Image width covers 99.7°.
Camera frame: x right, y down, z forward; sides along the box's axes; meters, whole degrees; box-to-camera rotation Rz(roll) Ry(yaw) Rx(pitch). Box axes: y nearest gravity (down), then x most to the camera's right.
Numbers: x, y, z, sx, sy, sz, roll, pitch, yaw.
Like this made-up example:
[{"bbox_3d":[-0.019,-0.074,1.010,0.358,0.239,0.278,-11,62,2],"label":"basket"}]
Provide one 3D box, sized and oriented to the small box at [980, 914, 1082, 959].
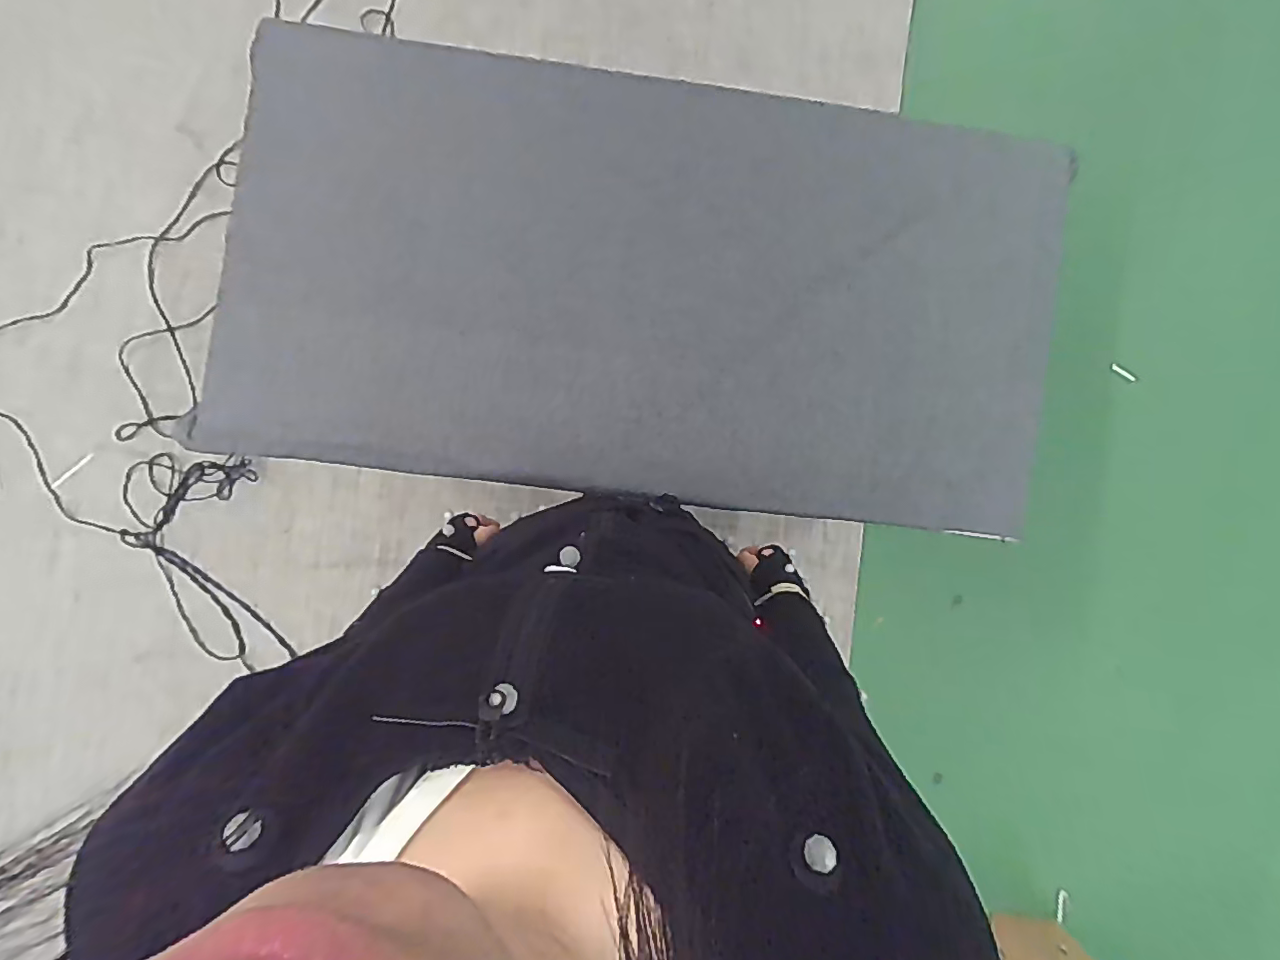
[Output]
[{"bbox_3d":[1.034,1.285,1.415,0.179,0.176,0.168,7,87,-2],"label":"small box"}]
